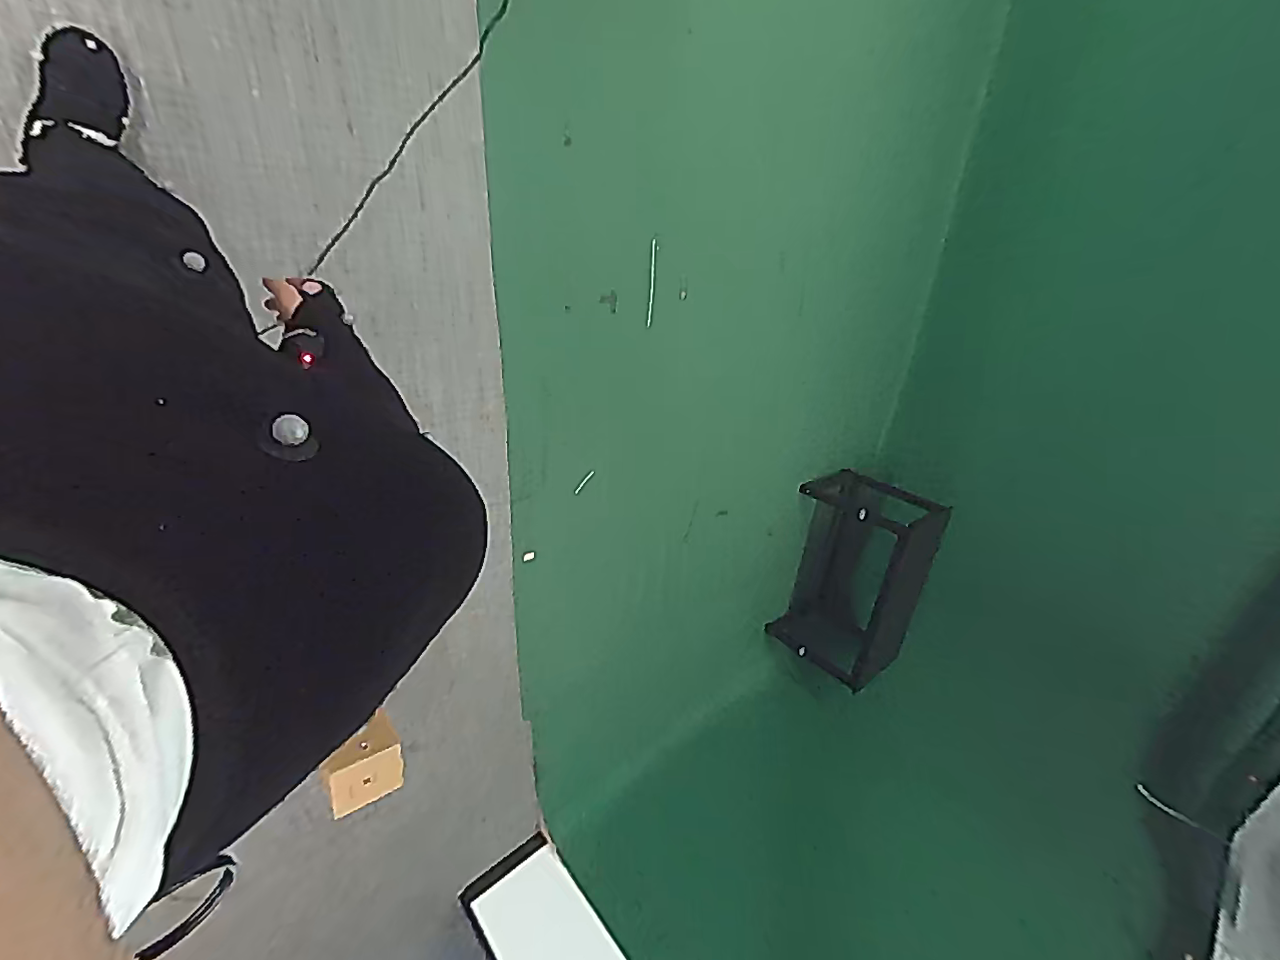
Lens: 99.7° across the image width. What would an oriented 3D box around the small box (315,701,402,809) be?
[{"bbox_3d":[-0.777,0.748,1.493,0.179,0.176,0.168,-10,119,-39],"label":"small box"}]
